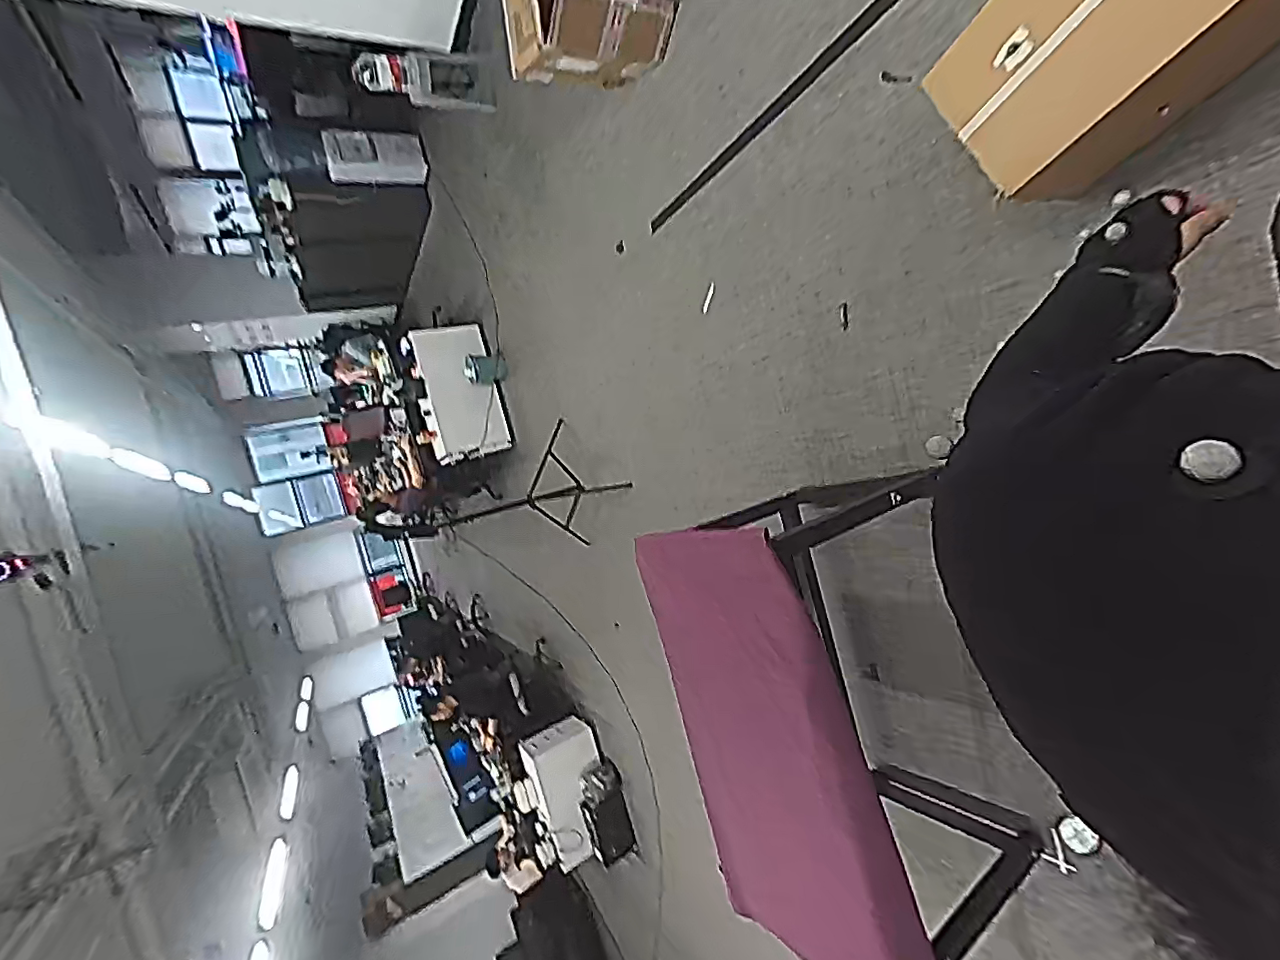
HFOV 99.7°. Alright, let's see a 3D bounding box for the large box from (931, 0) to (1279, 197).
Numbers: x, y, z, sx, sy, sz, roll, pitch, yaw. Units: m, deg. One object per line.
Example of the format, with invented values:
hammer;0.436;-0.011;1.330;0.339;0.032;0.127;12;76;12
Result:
large box;0.837;-0.779;0.951;0.320;0.320;0.408;66;150;13
